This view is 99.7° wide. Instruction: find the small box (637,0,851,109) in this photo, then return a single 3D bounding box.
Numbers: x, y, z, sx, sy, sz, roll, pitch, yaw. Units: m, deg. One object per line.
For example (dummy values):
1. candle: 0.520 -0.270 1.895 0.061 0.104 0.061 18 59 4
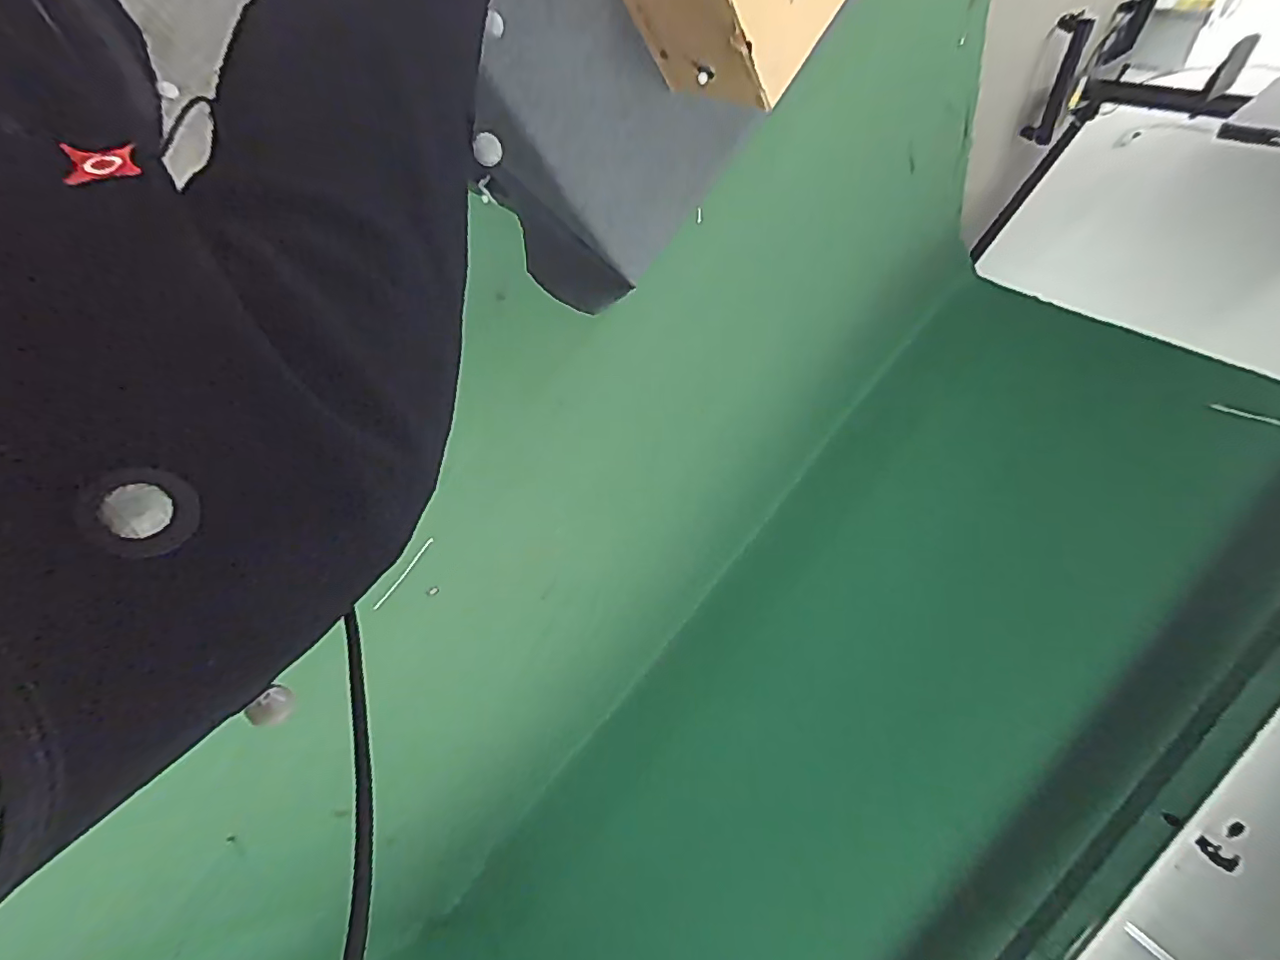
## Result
1. small box: 0.109 -0.554 0.587 0.179 0.176 0.168 -57 149 6
